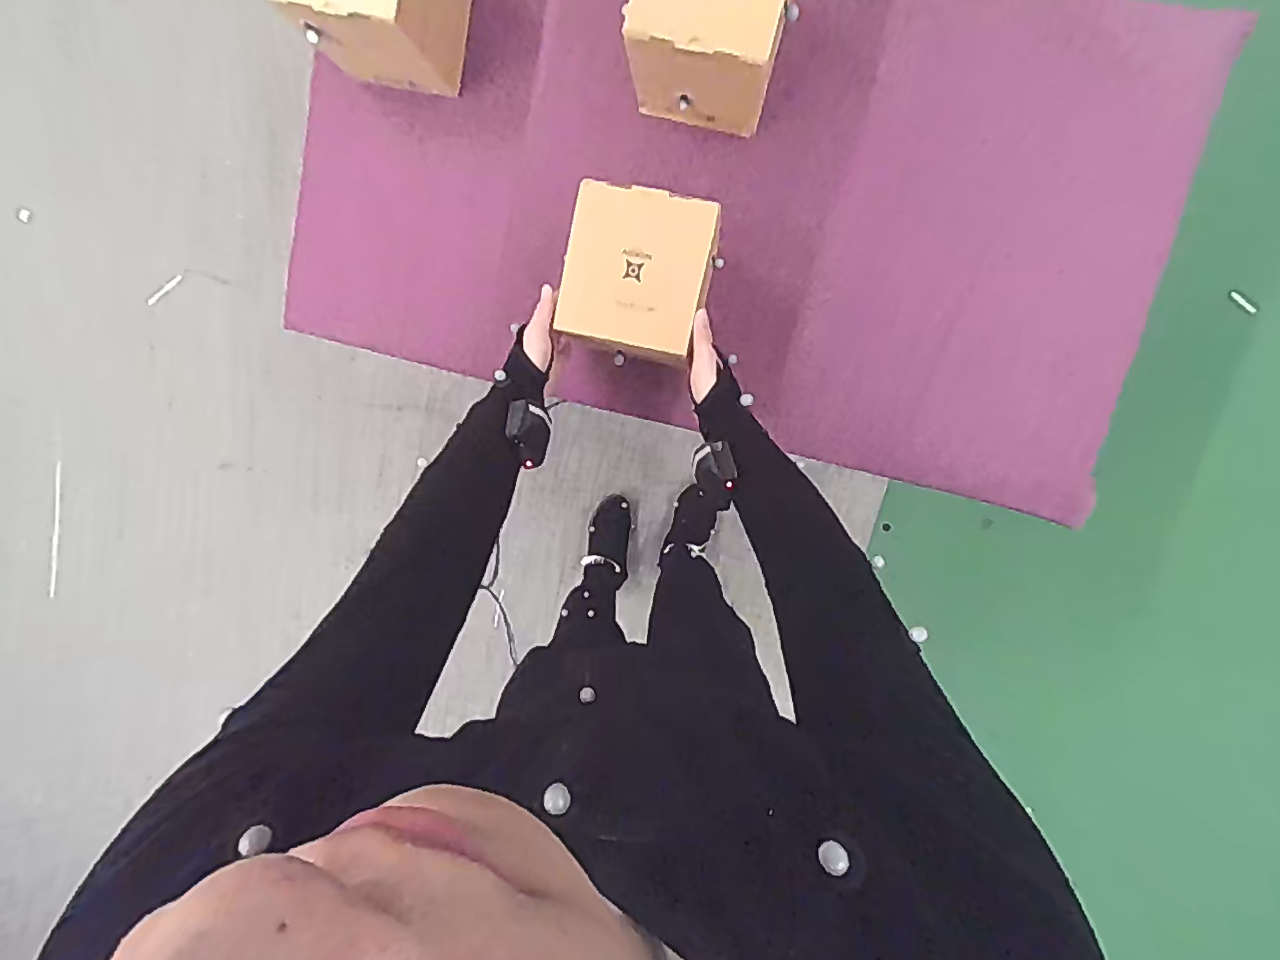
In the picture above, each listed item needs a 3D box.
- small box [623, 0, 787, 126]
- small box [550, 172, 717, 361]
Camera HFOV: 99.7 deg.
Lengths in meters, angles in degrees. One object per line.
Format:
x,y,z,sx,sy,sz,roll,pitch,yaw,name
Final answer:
0.088,-0.575,0.656,0.168,0.176,0.179,16,102,4,small box
-0.002,-0.266,0.713,0.168,0.176,0.179,15,99,6,small box
